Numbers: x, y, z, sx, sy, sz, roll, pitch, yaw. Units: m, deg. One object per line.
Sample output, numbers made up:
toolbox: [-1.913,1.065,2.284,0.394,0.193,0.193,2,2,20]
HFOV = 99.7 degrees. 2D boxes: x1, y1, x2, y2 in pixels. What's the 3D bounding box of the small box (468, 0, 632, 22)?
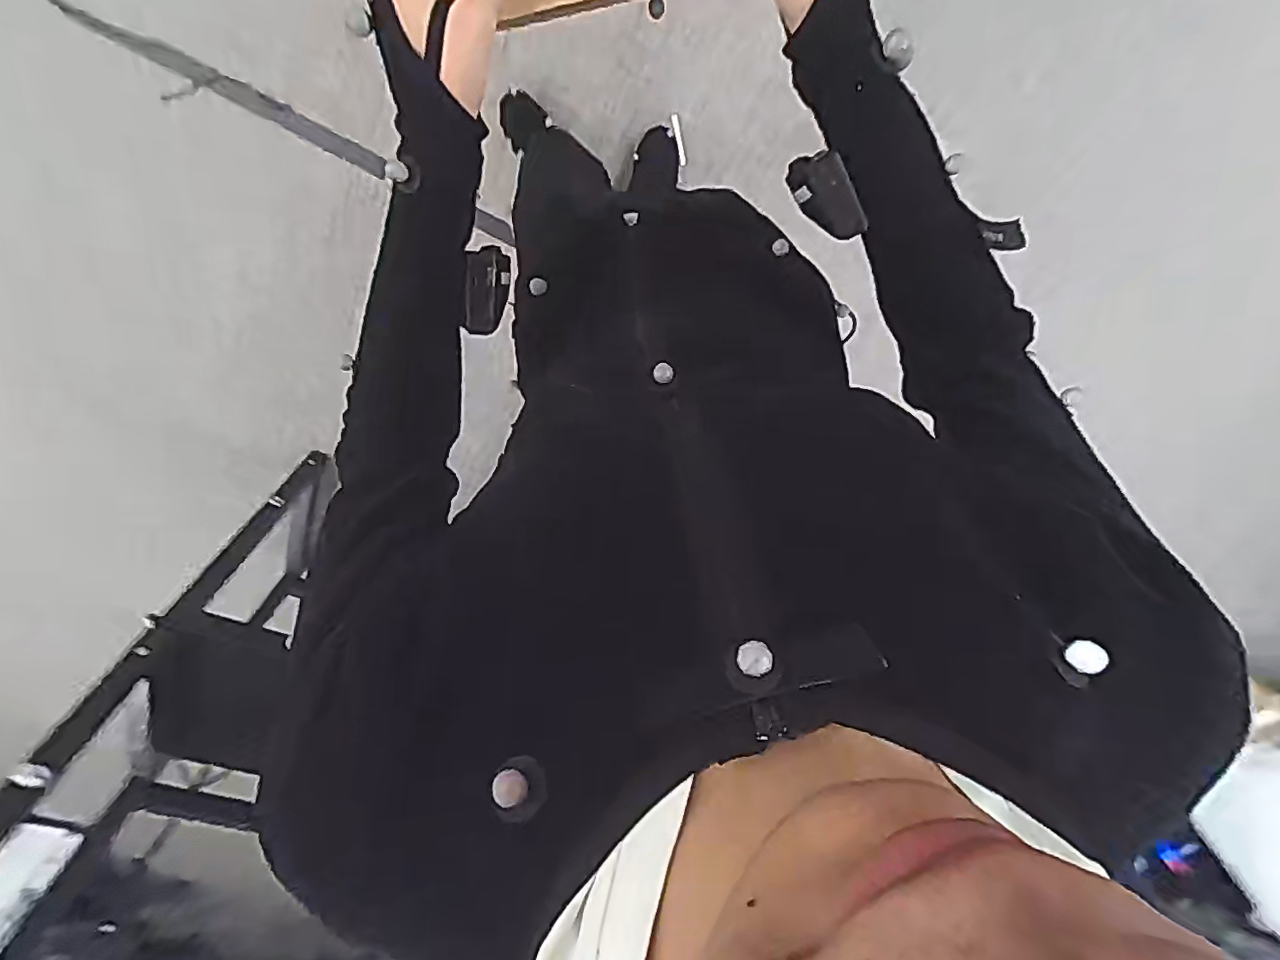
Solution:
small box: [-0.042,-0.420,0.349,0.179,0.176,0.168,-11,128,2]
